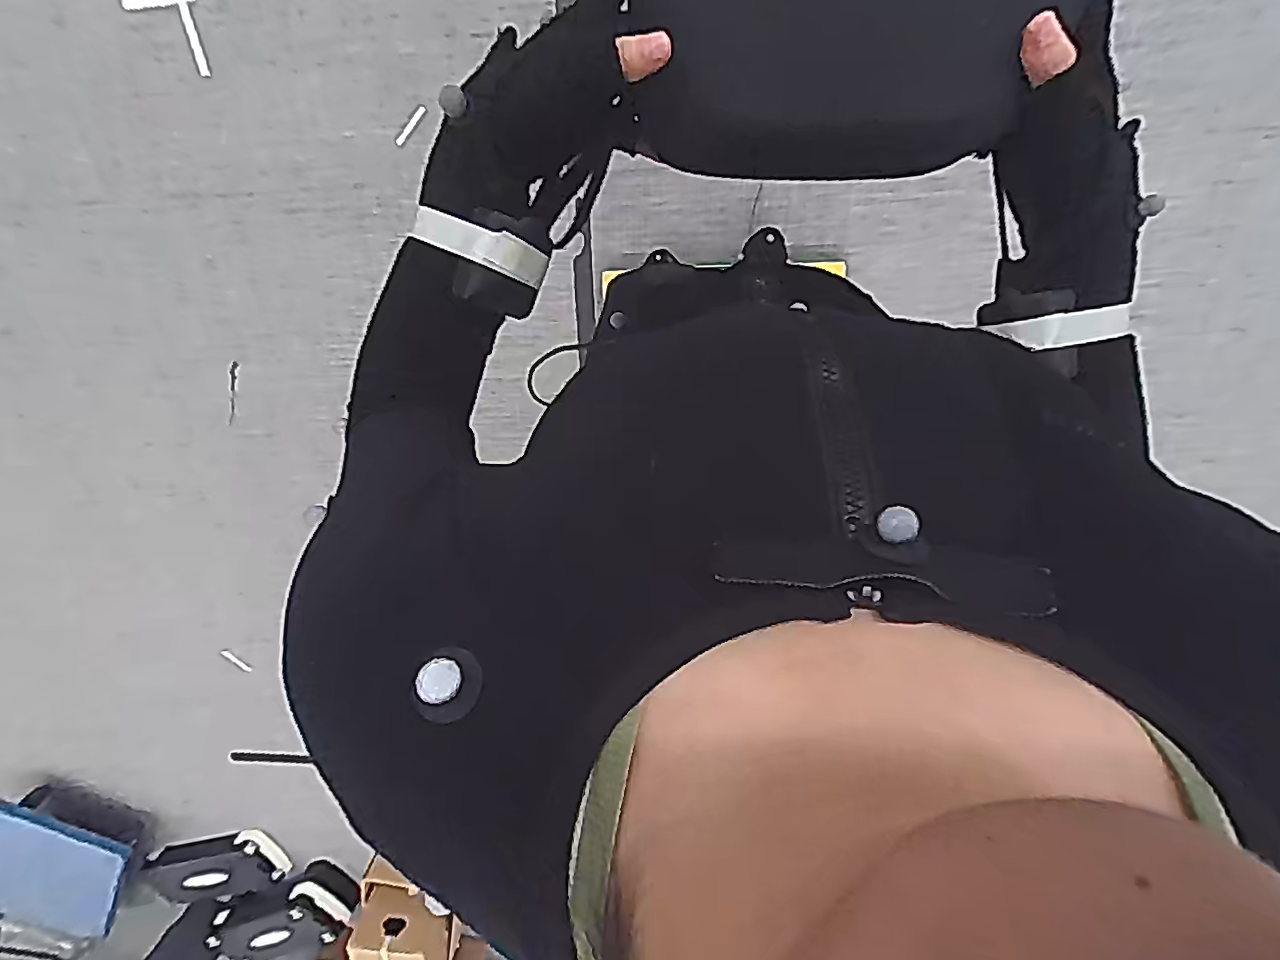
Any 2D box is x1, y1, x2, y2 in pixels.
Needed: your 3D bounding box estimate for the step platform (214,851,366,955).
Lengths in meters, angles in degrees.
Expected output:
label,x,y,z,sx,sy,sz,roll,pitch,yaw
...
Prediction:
label,x,y,z,sx,sy,sz,roll,pitch,yaw
step platform,-1.658,2.008,2.558,0.684,0.204,0.286,-28,110,15
